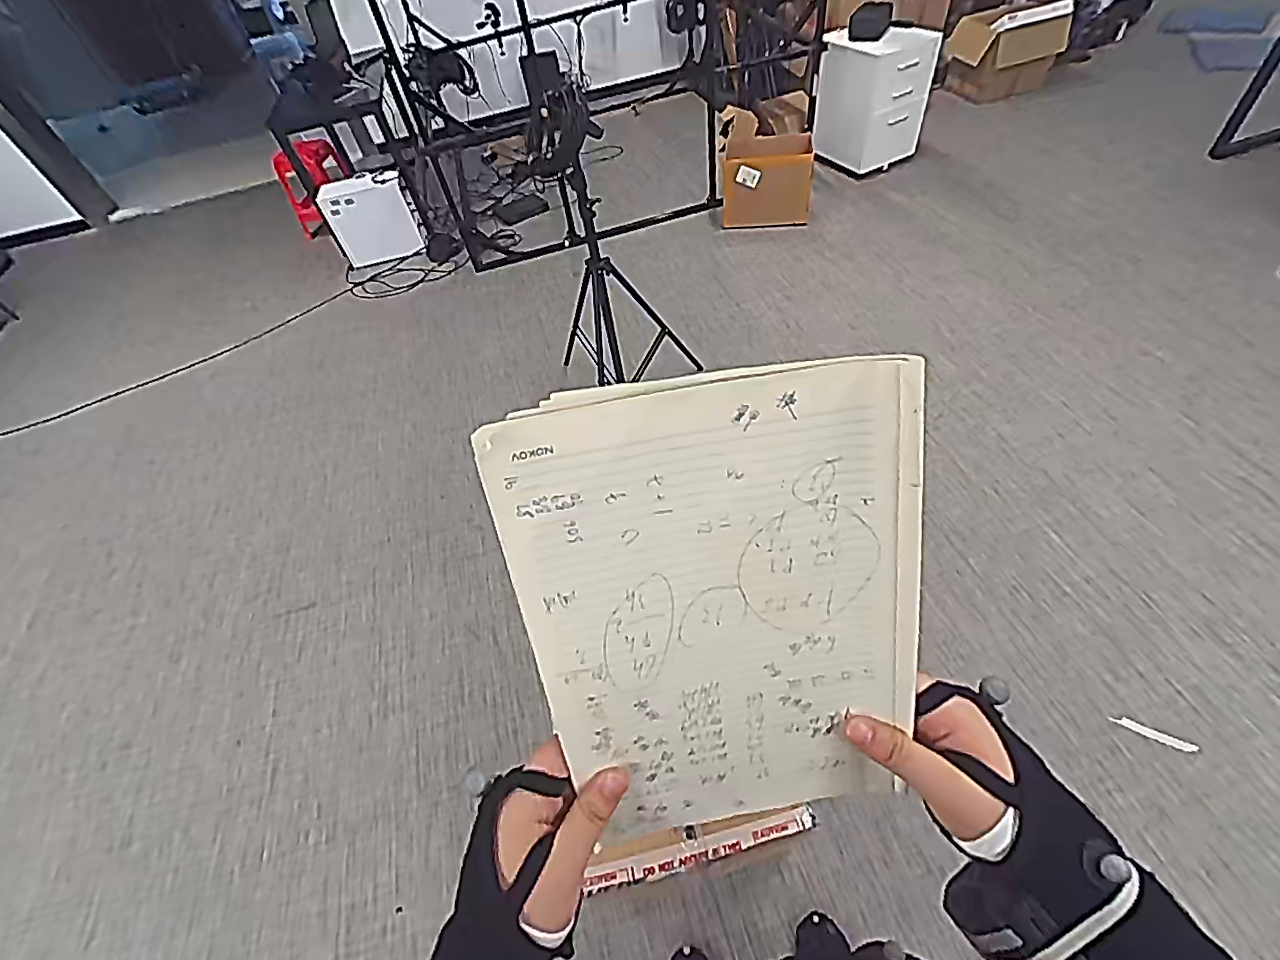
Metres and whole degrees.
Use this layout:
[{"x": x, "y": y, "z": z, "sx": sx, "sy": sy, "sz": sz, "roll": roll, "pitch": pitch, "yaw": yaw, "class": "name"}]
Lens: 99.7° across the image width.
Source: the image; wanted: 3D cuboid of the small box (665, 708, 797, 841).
[{"x": 0.147, "y": 0.431, "z": 0.833, "sx": 0.179, "sy": 0.176, "sz": 0.168, "roll": -17, "pitch": 51, "yaw": -7, "class": "small box"}]

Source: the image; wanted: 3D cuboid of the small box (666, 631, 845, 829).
[{"x": 0.135, "y": 0.327, "z": 0.706, "sx": 0.168, "sy": 0.176, "sz": 0.179, "roll": -14, "pitch": 52, "yaw": -5, "class": "small box"}]
